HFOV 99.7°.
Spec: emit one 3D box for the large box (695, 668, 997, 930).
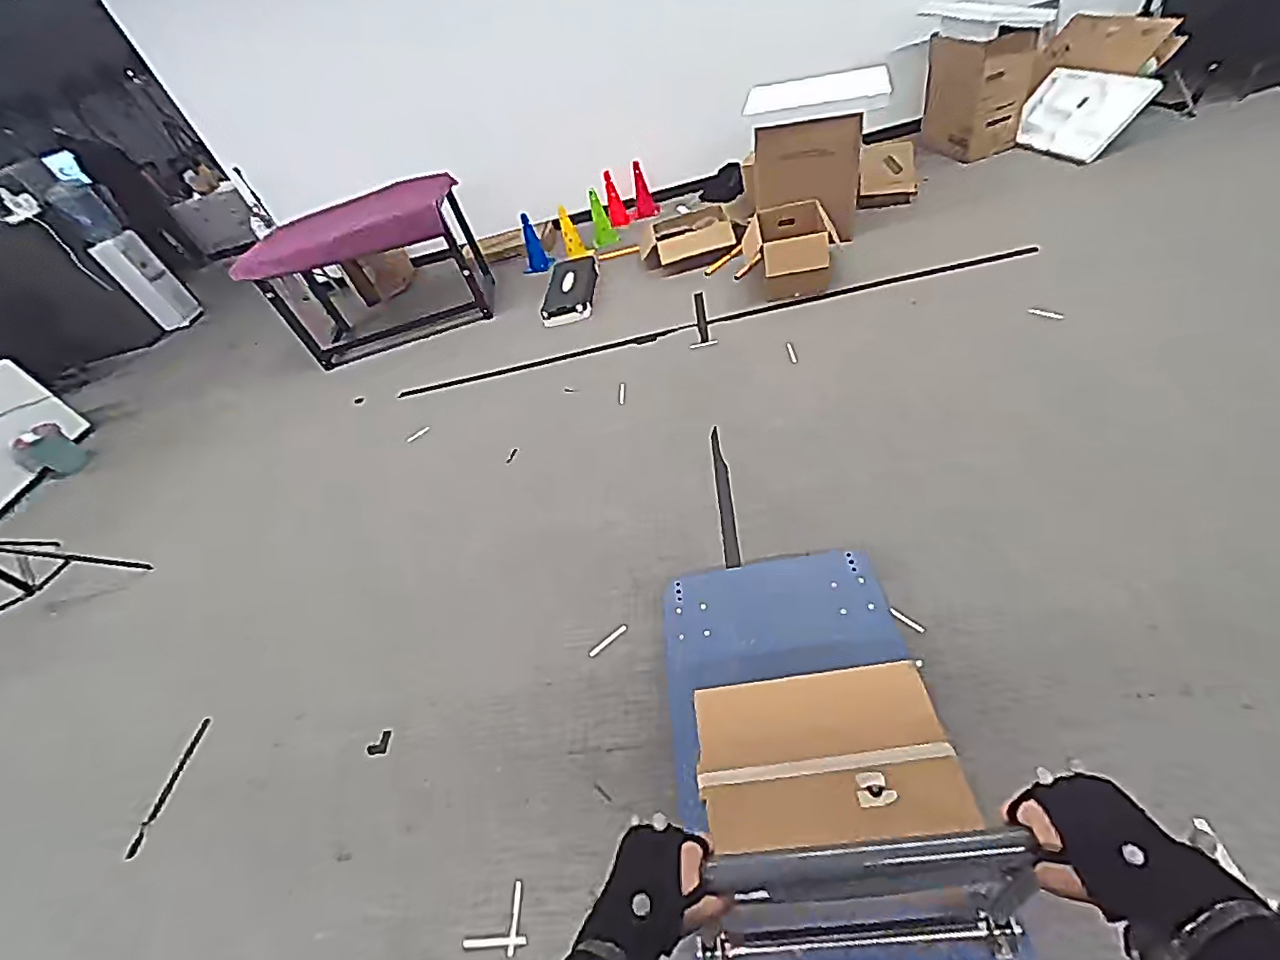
[{"bbox_3d":[0.335,0.584,0.985,0.408,0.320,0.320,-11,44,8],"label":"large box"}]
